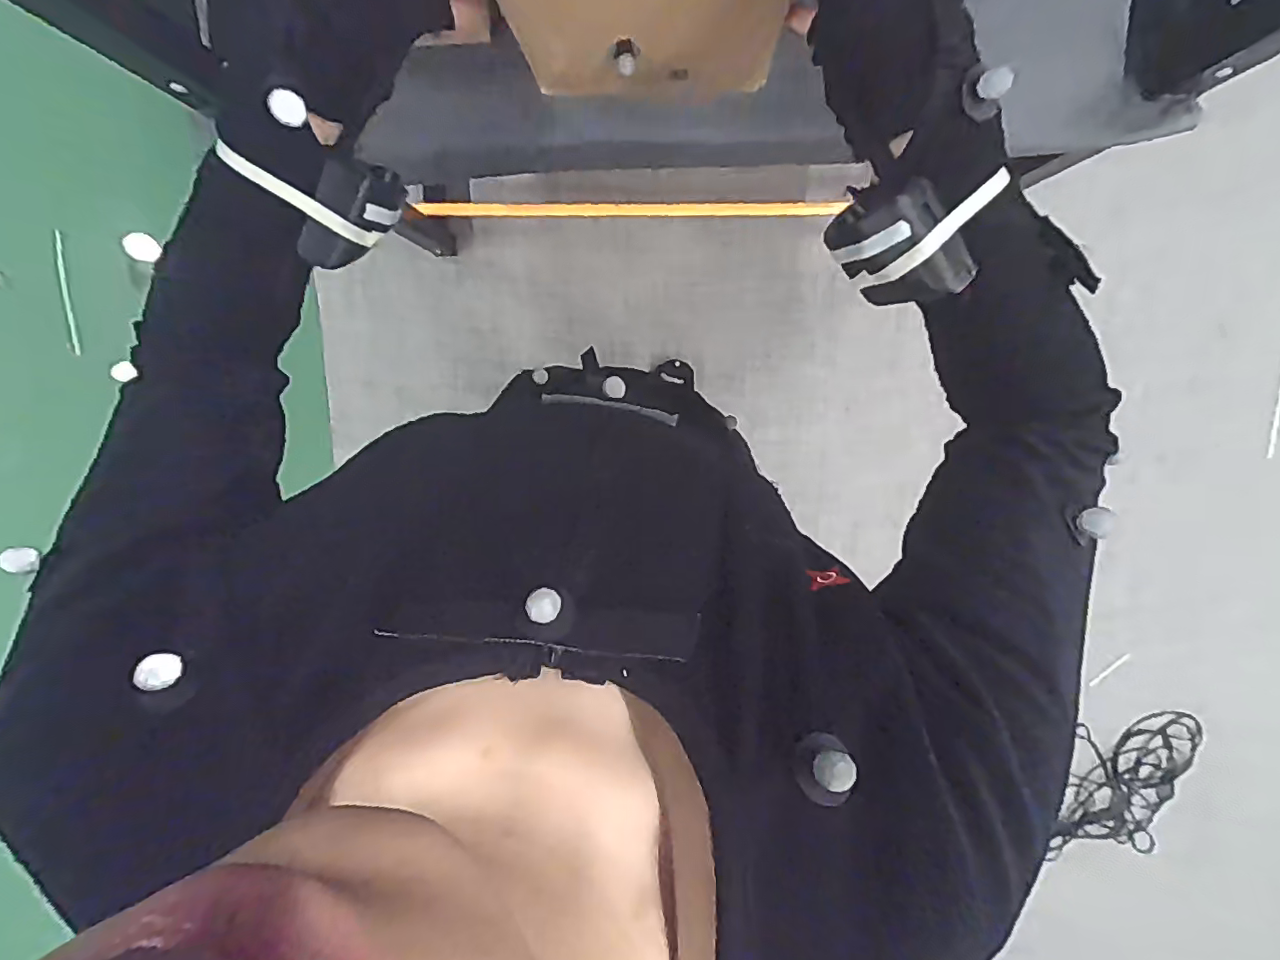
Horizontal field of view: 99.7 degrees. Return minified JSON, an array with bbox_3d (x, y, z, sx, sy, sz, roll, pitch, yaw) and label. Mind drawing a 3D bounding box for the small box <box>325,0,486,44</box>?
[{"bbox_3d":[-0.263,-0.589,0.543,0.168,0.176,0.179,-2,101,1],"label":"small box"}]
